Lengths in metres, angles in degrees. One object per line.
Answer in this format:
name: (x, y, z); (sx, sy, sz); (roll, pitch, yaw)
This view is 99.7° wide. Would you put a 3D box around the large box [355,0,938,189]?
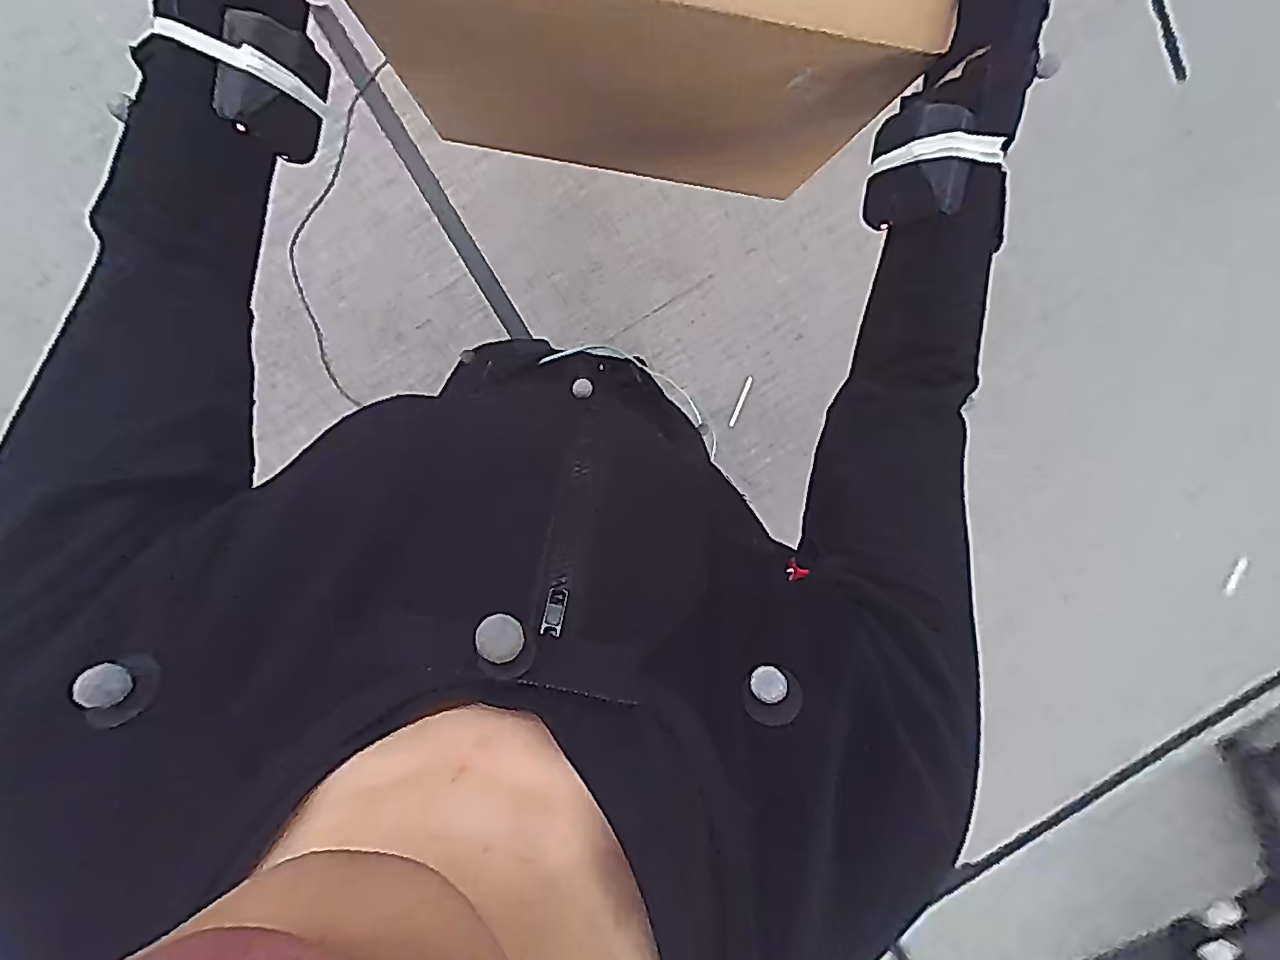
large box: (0.000, -0.482, 0.458); (0.408, 0.320, 0.320); (6, 102, -6)
